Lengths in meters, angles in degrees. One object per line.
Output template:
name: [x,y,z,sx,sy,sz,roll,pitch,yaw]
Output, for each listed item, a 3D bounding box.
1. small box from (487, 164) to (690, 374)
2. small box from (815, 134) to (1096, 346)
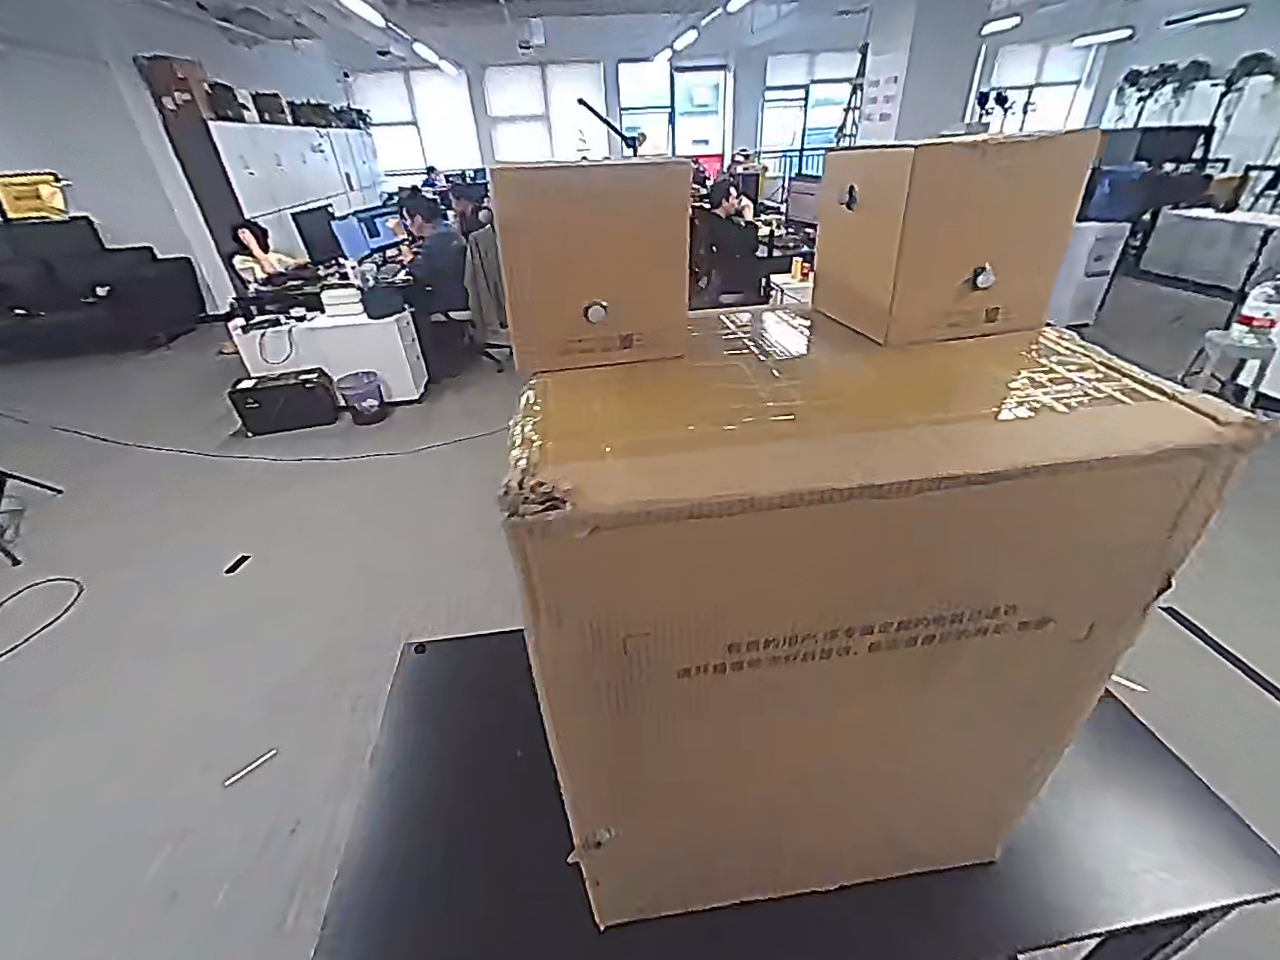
small box: [-0.055,-0.216,0.541,0.168,0.176,0.179,-9,32,-11]
small box: [0.293,-0.245,0.553,0.168,0.176,0.179,-8,31,-5]
